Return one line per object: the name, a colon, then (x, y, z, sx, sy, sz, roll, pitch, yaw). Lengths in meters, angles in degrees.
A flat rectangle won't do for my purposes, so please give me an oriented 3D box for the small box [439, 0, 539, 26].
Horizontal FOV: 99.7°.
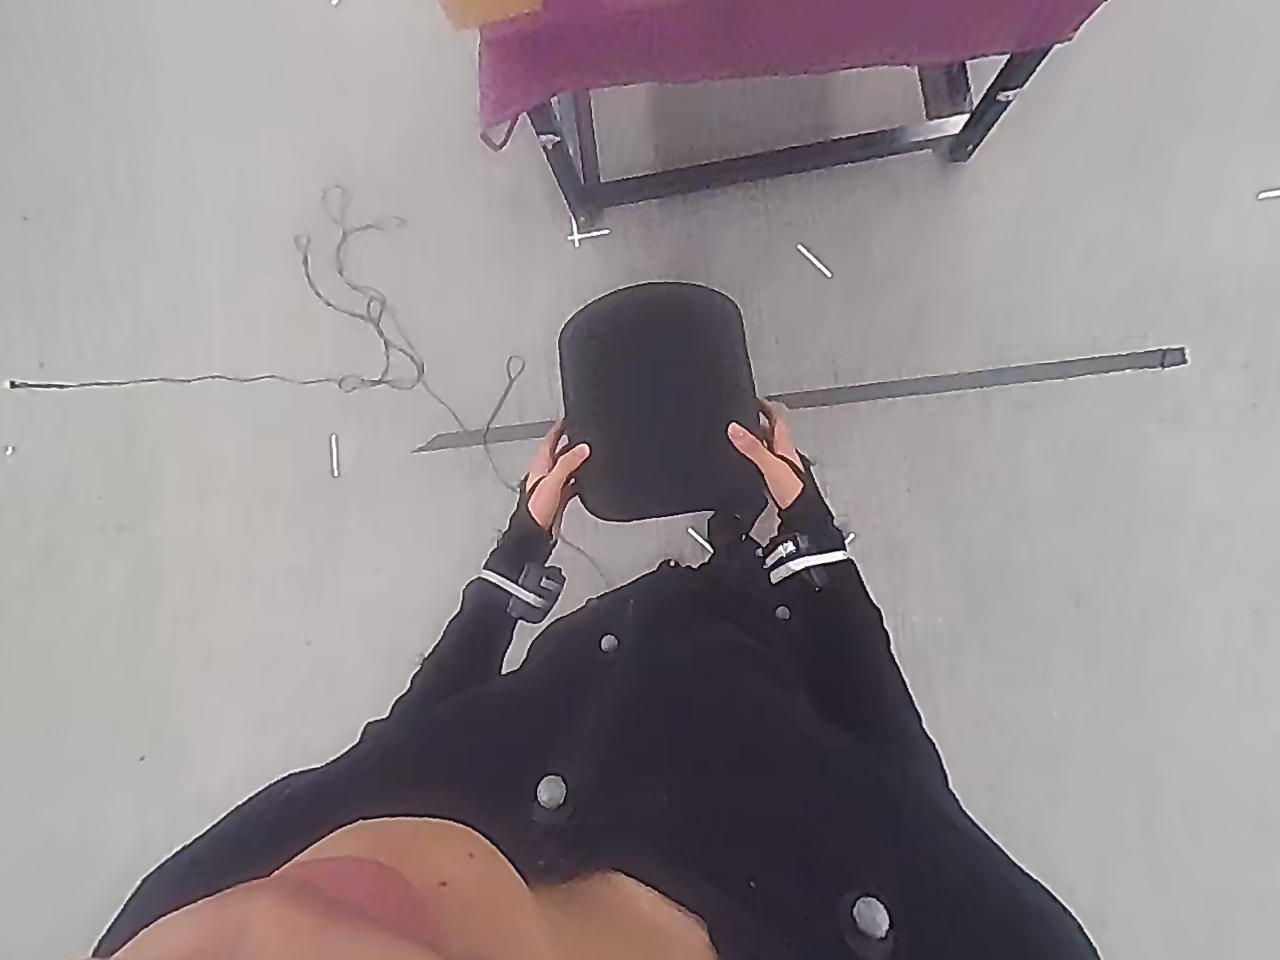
small box: (-0.282, -0.919, 0.909, 0.179, 0.176, 0.168, -10, 85, 5)
